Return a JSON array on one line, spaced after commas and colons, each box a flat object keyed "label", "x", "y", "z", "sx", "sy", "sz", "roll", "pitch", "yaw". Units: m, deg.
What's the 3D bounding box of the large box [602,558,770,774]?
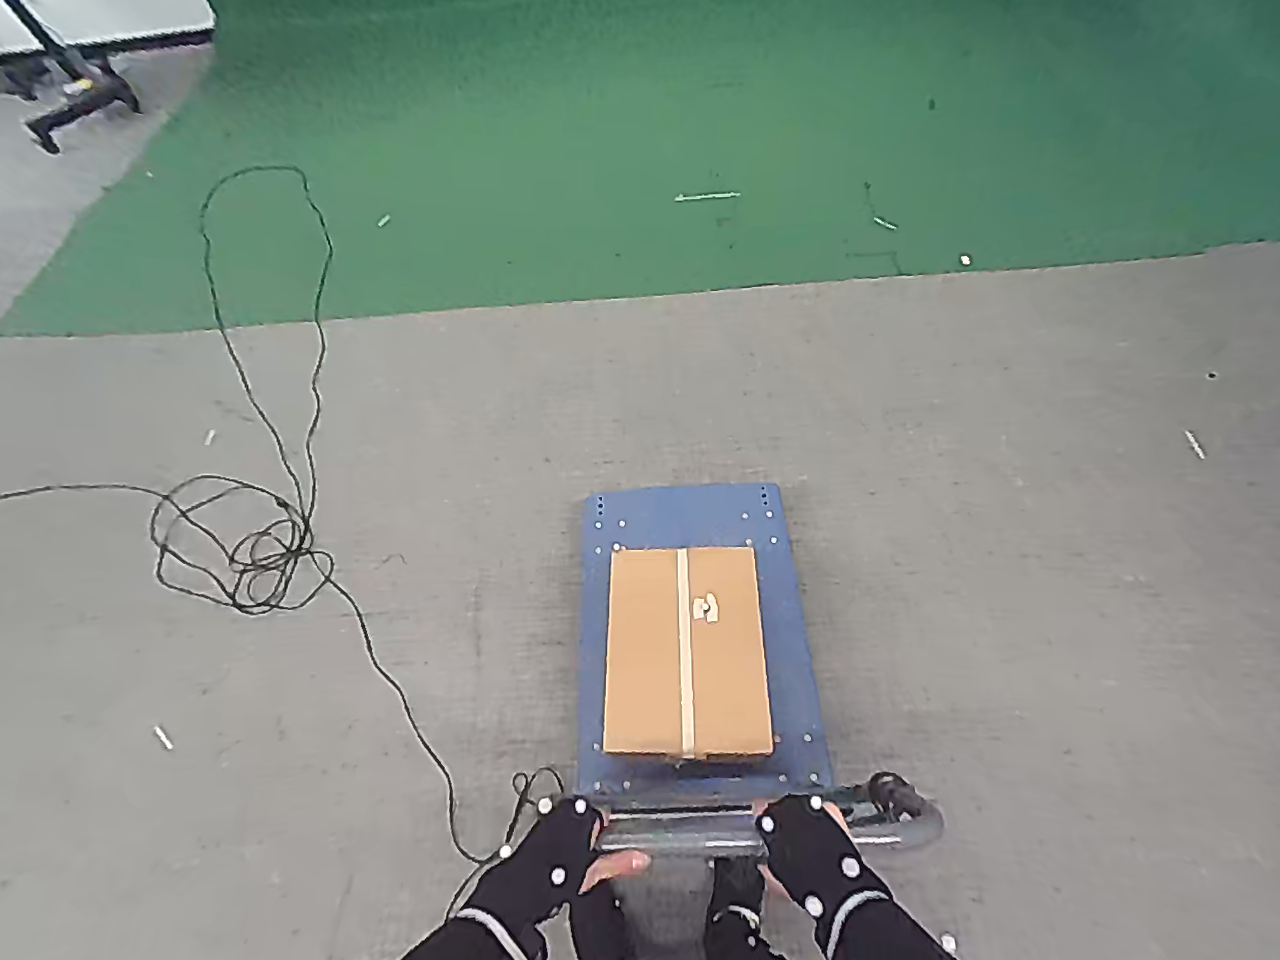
[{"label": "large box", "x": 0.096, "y": 0.423, "z": 1.212, "sx": 0.320, "sy": 0.320, "sz": 0.408, "roll": -1, "pitch": 58, "yaw": 4}]
